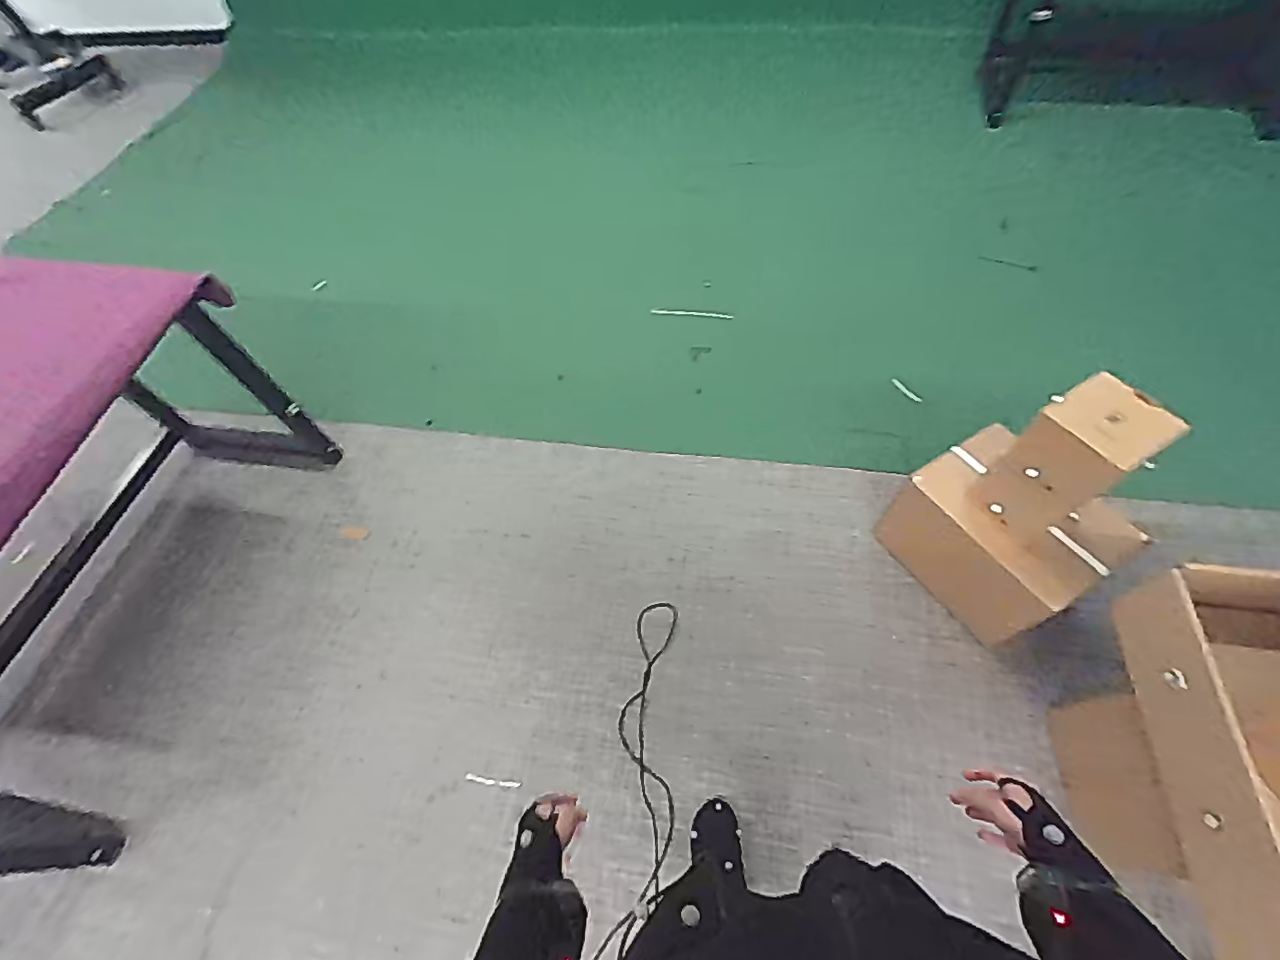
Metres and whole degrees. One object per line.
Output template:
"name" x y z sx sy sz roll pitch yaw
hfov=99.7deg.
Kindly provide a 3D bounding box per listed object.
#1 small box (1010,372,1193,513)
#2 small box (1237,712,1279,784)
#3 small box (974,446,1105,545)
"small box" 0.868 -0.068 1.039 0.179 0.176 0.168 -28 60 -12
"small box" 1.074 0.416 0.793 0.168 0.176 0.179 -21 58 -6
"small box" 0.882 0.011 1.181 0.179 0.176 0.168 -26 60 -10
